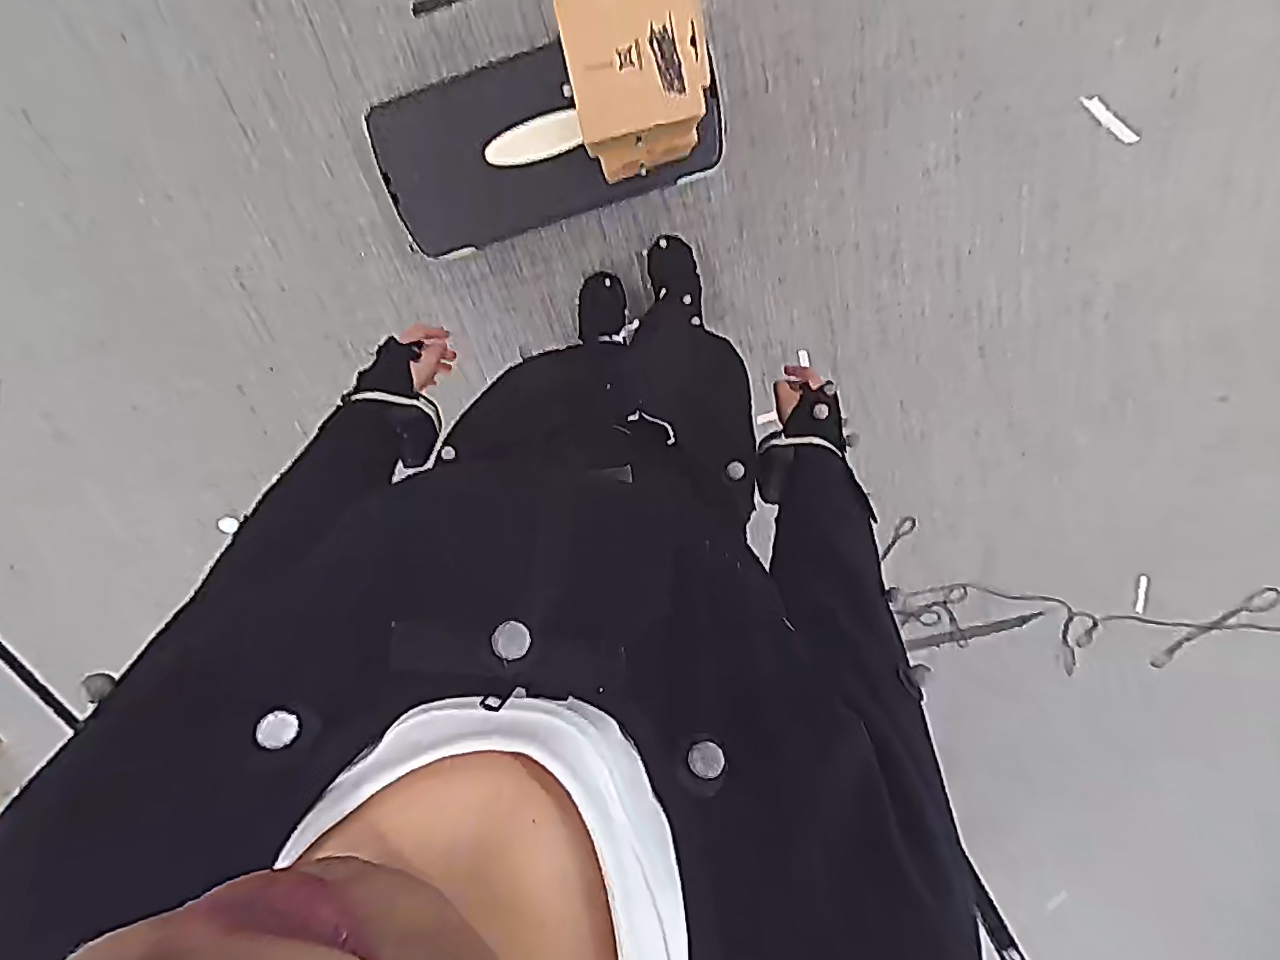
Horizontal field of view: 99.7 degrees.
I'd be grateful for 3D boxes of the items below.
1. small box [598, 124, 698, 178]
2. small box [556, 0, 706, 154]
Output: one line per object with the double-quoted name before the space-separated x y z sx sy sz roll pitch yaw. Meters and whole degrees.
"small box" -0.009 -0.650 0.941 0.168 0.176 0.179 -17 115 5
"small box" -0.011 -0.593 0.786 0.179 0.176 0.168 -11 115 4
